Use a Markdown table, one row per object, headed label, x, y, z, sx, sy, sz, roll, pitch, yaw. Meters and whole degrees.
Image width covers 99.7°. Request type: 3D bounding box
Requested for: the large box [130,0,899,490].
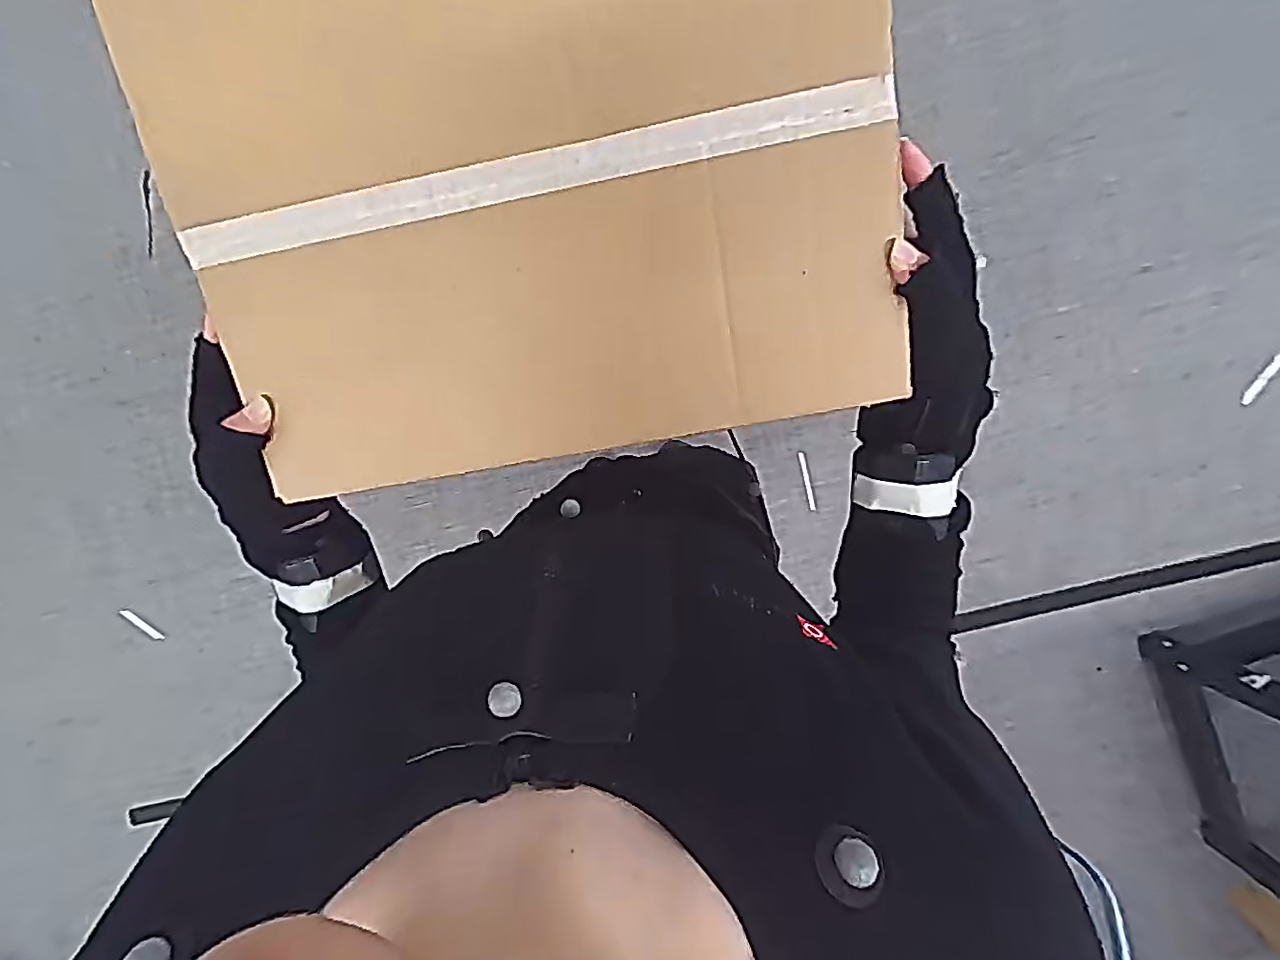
| label | x | y | z | sx | sy | sz | roll | pitch | yaw |
| --- | --- | --- | --- | --- | --- | --- | --- | --- | --- |
| large box | -0.058 | -0.208 | 0.458 | 0.408 | 0.320 | 0.320 | -10 | 105 | 5 |
